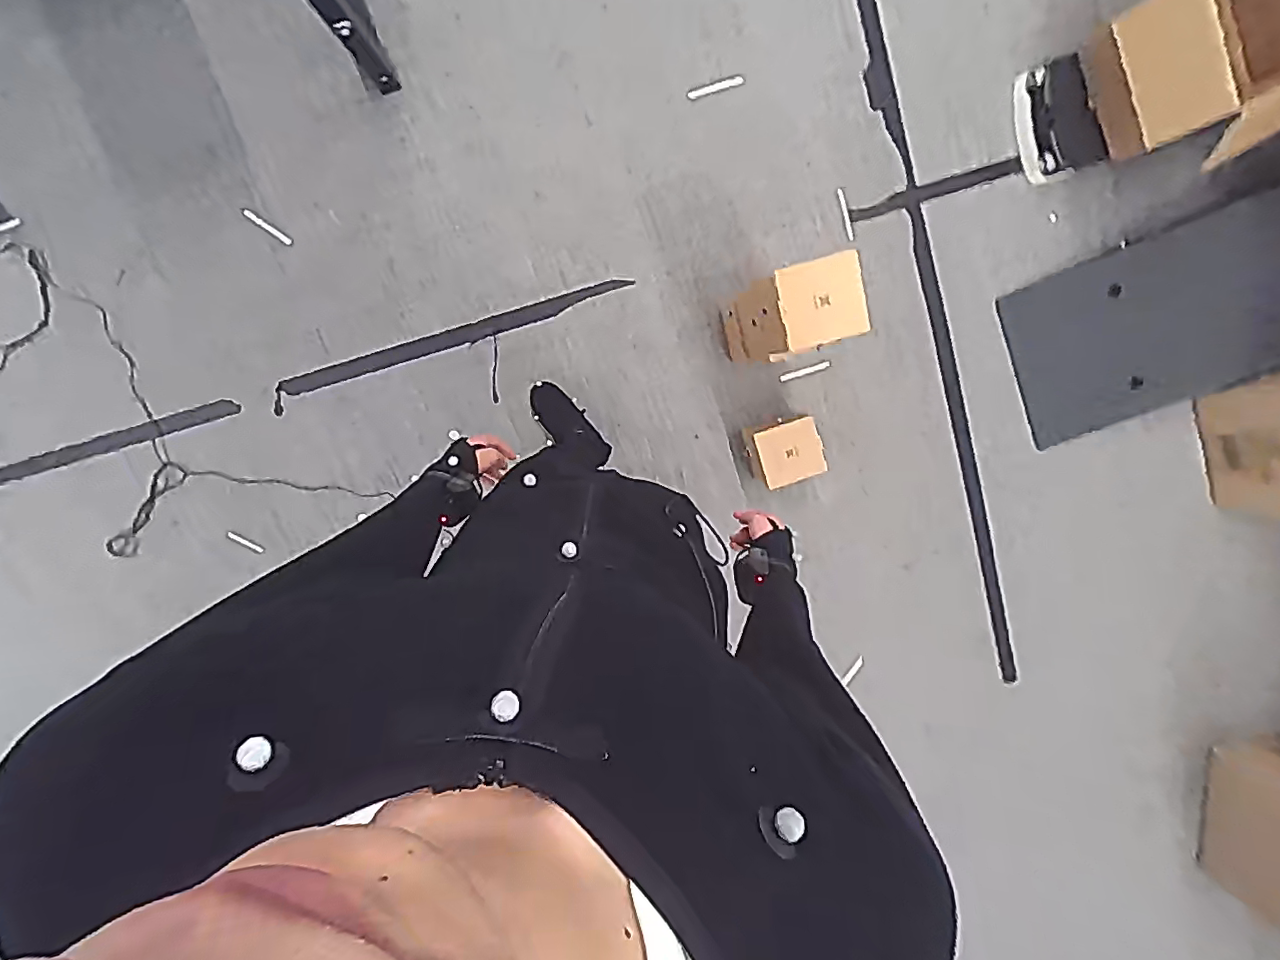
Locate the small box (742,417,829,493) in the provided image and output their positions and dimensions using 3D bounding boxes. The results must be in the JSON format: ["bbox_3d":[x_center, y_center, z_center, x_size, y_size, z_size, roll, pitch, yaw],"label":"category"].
[{"bbox_3d":[0.414,-0.078,1.559,0.179,0.176,0.168,-19,100,2],"label":"small box"}]

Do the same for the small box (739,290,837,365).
[{"bbox_3d":[0.356,-0.388,1.327,0.168,0.176,0.179,-17,102,0],"label":"small box"}]

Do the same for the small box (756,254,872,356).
[{"bbox_3d":[0.368,-0.369,1.166,0.179,0.176,0.168,-15,102,1],"label":"small box"}]
